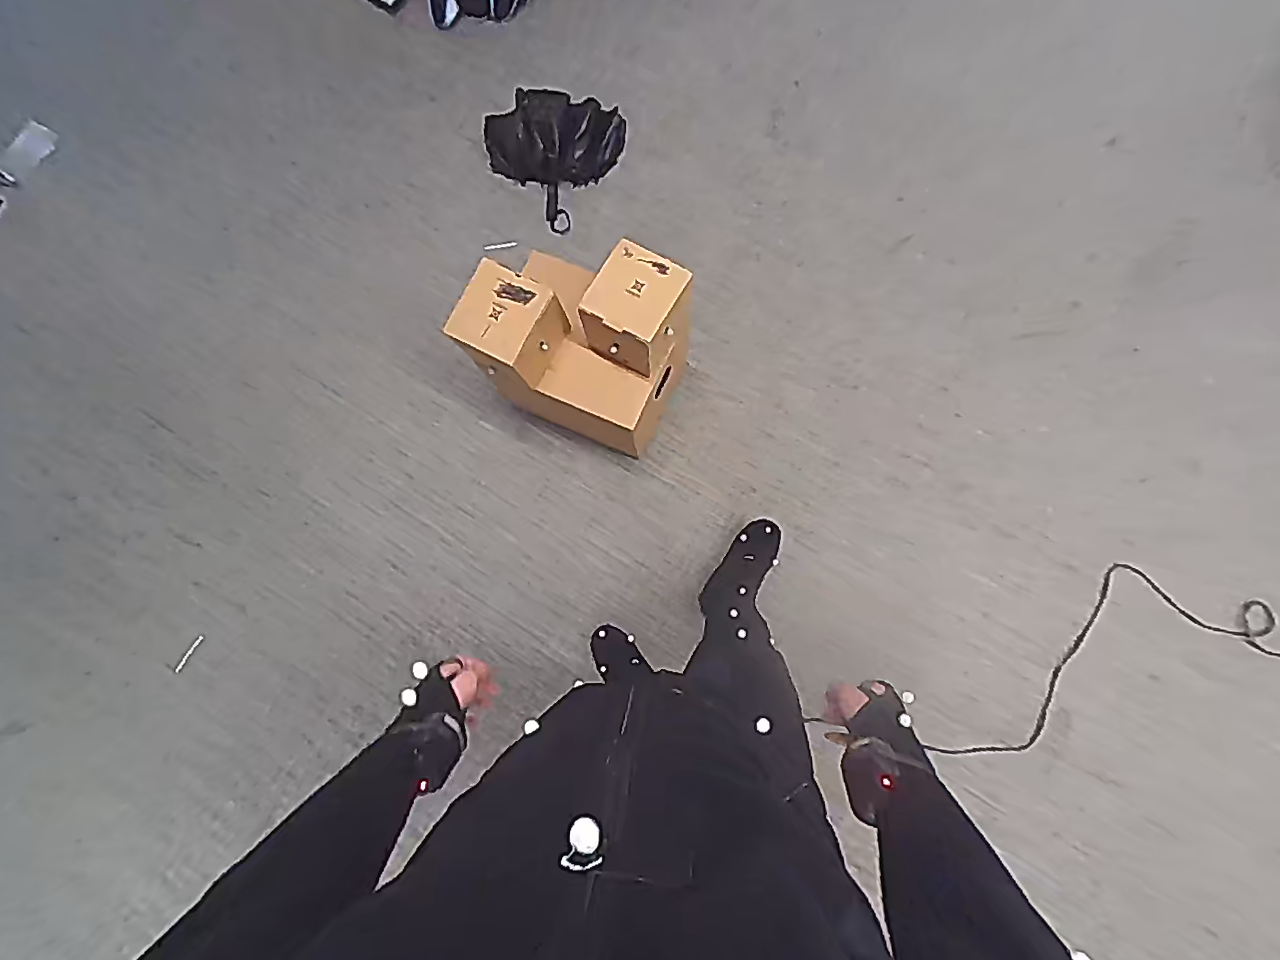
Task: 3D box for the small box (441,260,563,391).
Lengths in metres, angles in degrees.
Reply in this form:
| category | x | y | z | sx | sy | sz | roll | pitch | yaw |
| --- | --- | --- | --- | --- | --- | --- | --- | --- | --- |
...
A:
| category | x | y | z | sx | sy | sz | roll | pitch | yaw |
| --- | --- | --- | --- | --- | --- | --- | --- | --- | --- |
| small box | -0.276 | -0.315 | 1.135 | 0.168 | 0.176 | 0.179 | 28 | 84 | 7 |

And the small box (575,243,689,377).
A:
| category | x | y | z | sx | sy | sz | roll | pitch | yaw |
| --- | --- | --- | --- | --- | --- | --- | --- | --- | --- |
| small box | -0.011 | -0.345 | 1.130 | 0.168 | 0.176 | 0.179 | 30 | 80 | 7 |
